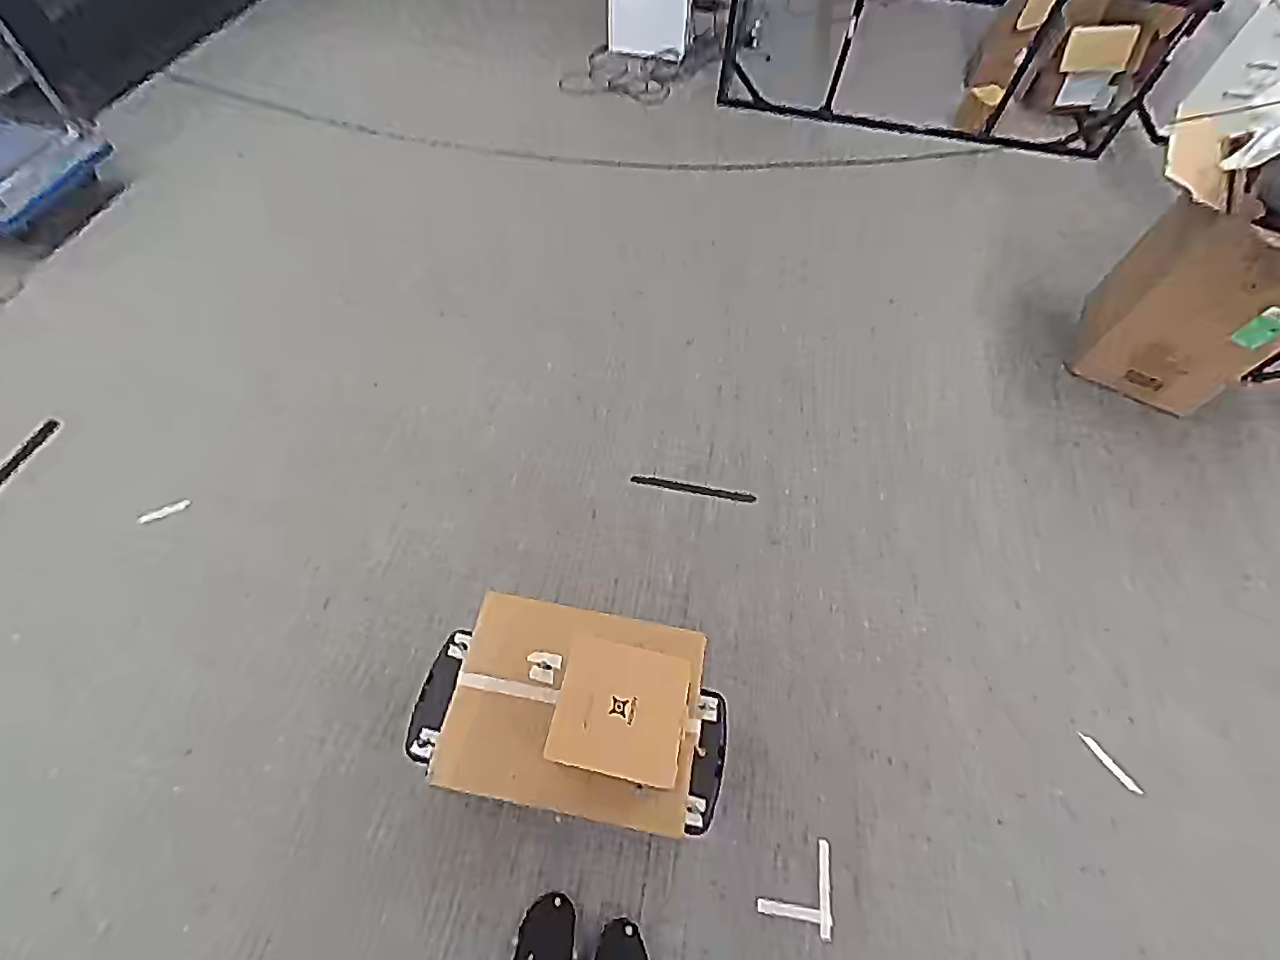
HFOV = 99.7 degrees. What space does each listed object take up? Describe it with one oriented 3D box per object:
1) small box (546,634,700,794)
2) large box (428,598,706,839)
[{"bbox_3d":[-0.021,0.344,0.789,0.179,0.176,0.168,12,59,5],"label":"small box"},{"bbox_3d":[-0.105,0.447,1.010,0.408,0.320,0.320,10,58,5],"label":"large box"}]
